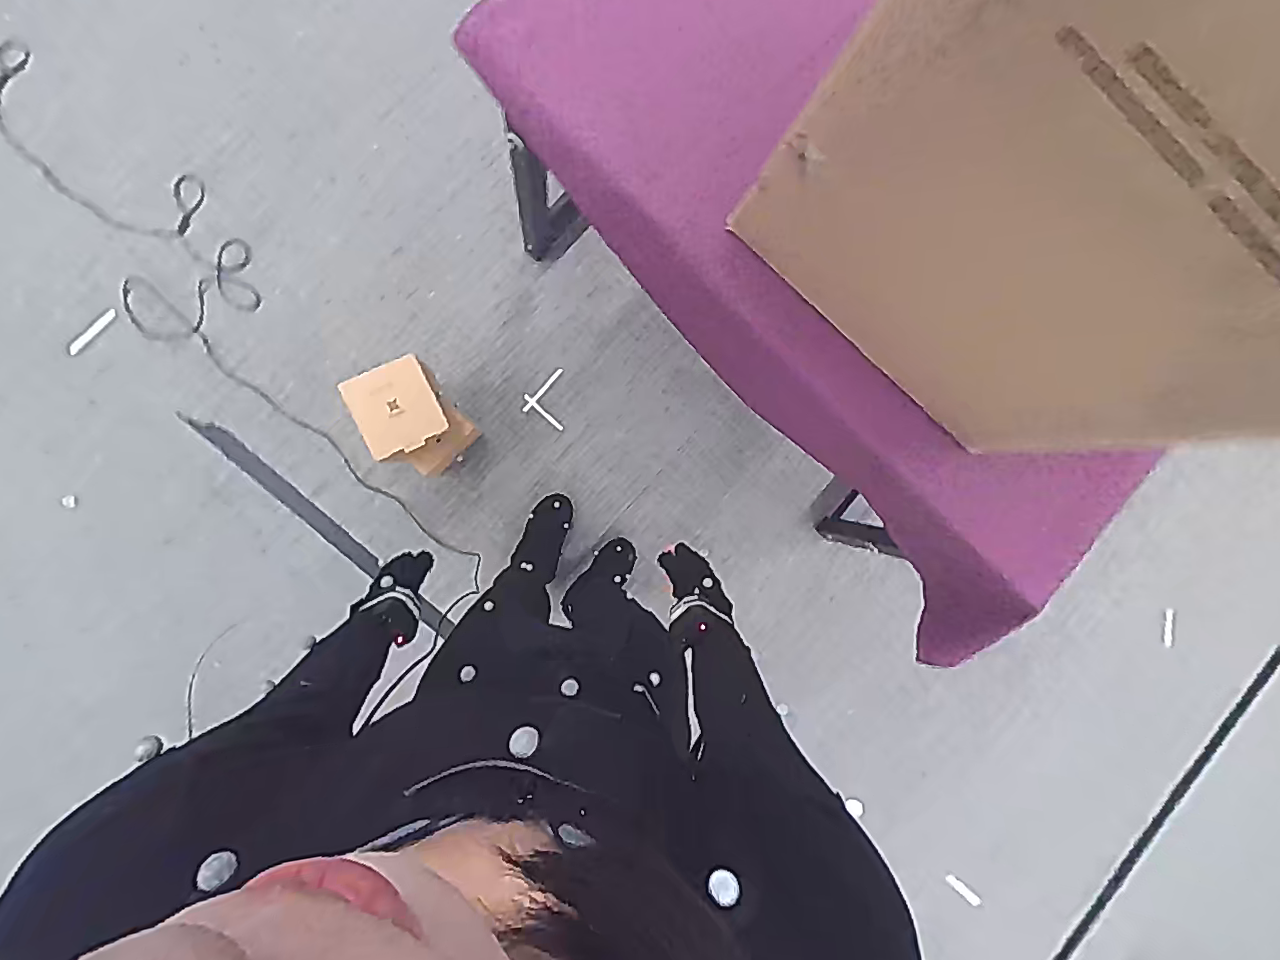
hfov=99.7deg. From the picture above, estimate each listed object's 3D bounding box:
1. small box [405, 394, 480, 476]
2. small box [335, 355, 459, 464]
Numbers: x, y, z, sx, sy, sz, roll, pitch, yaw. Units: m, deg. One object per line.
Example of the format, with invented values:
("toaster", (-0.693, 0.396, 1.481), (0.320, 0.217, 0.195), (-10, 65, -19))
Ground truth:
("small box", (-0.523, -0.124, 1.340), (0.179, 0.176, 0.168), (45, 85, -8))
("small box", (-0.515, -0.146, 1.176), (0.168, 0.176, 0.179), (-27, 94, -9))
